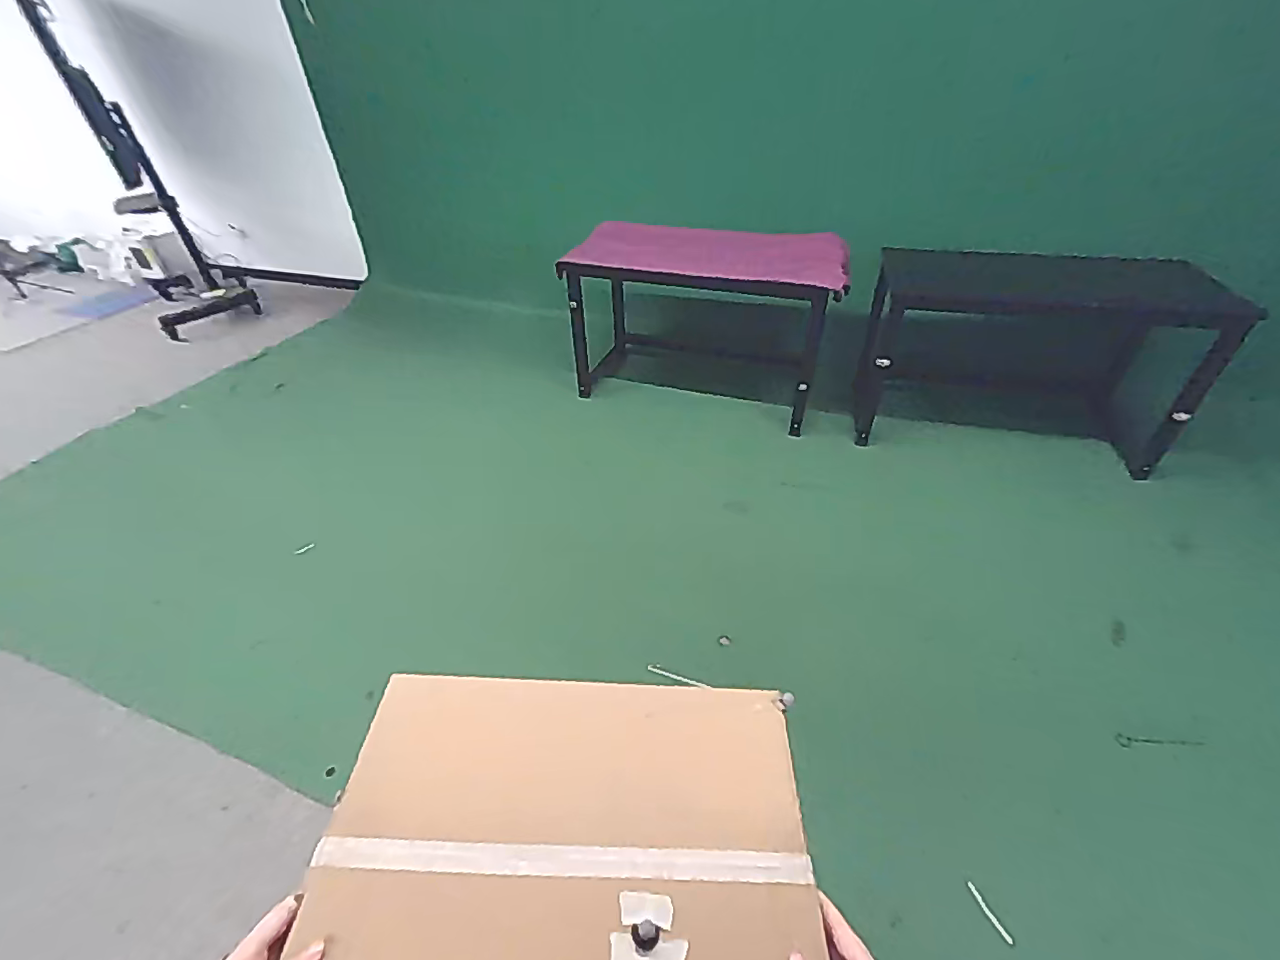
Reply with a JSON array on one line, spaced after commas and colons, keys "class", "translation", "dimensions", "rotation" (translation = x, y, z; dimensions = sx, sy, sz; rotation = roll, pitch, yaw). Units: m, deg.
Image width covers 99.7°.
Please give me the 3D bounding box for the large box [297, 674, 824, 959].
[{"class": "large box", "translation": [-0.065, 0.427, 0.557], "dimensions": [0.408, 0.320, 0.320], "rotation": [4, 42, -1]}]
